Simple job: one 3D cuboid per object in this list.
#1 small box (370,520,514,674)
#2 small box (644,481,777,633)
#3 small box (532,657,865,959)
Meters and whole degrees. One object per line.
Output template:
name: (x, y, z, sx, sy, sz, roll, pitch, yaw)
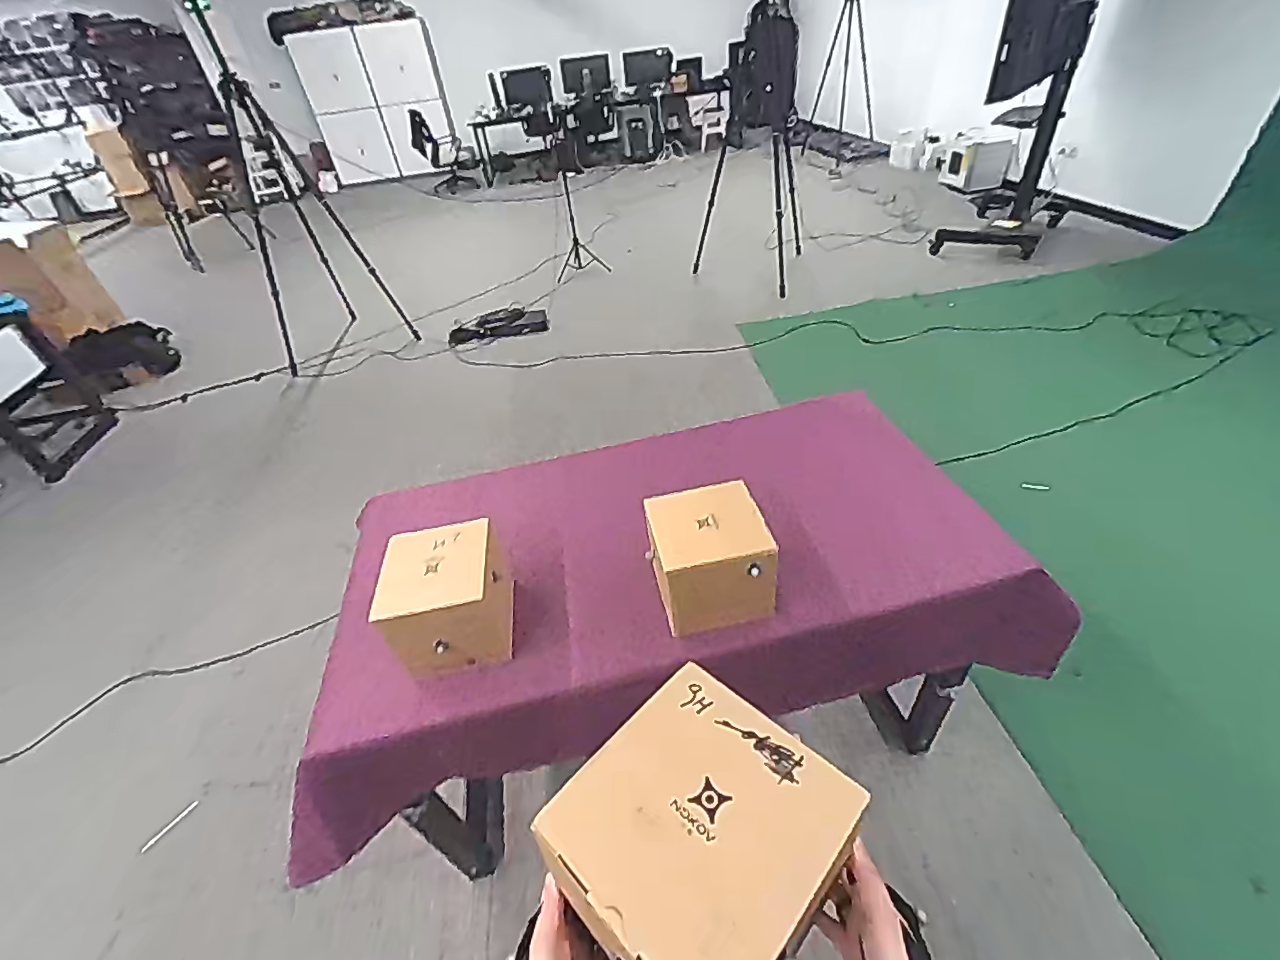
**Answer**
small box: (-0.308, 0.197, 0.885, 0.168, 0.176, 0.179, -10, 40, -3)
small box: (0.114, 0.130, 0.893, 0.179, 0.176, 0.168, -12, 40, -4)
small box: (0.047, 0.286, 0.422, 0.168, 0.176, 0.179, 29, 50, 36)
